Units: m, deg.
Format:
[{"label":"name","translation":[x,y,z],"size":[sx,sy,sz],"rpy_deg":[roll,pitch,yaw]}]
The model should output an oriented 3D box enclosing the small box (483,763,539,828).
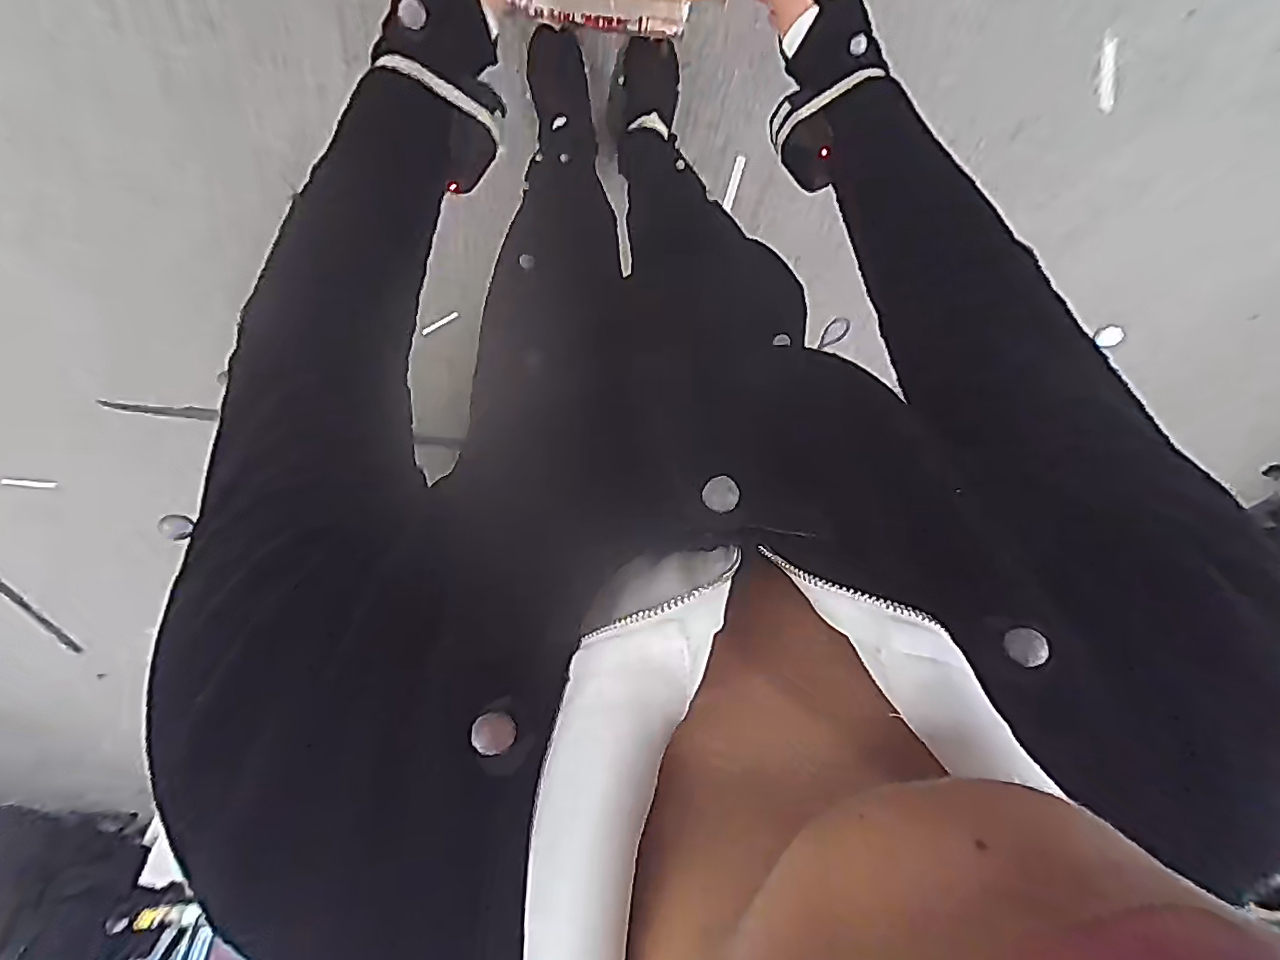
[{"label":"small box","translation":[-0.457,1.126,1.933],"size":[0.179,0.176,0.168],"rpy_deg":[2,138,-9]}]
